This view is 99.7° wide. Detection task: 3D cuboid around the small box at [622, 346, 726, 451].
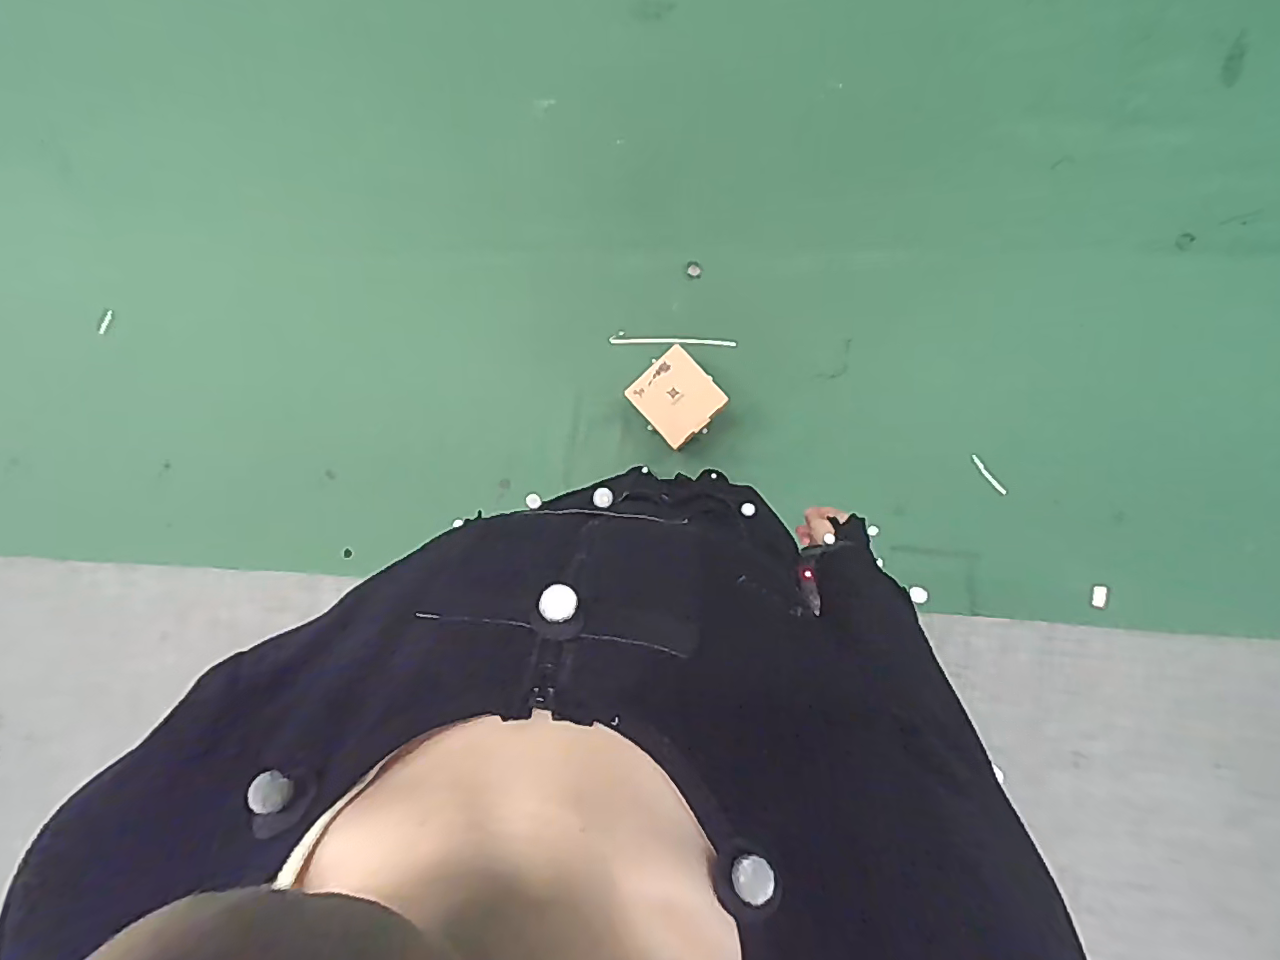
[{"bbox_3d":[0.083,-0.187,1.276,0.168,0.176,0.179,-42,88,6],"label":"small box"}]
